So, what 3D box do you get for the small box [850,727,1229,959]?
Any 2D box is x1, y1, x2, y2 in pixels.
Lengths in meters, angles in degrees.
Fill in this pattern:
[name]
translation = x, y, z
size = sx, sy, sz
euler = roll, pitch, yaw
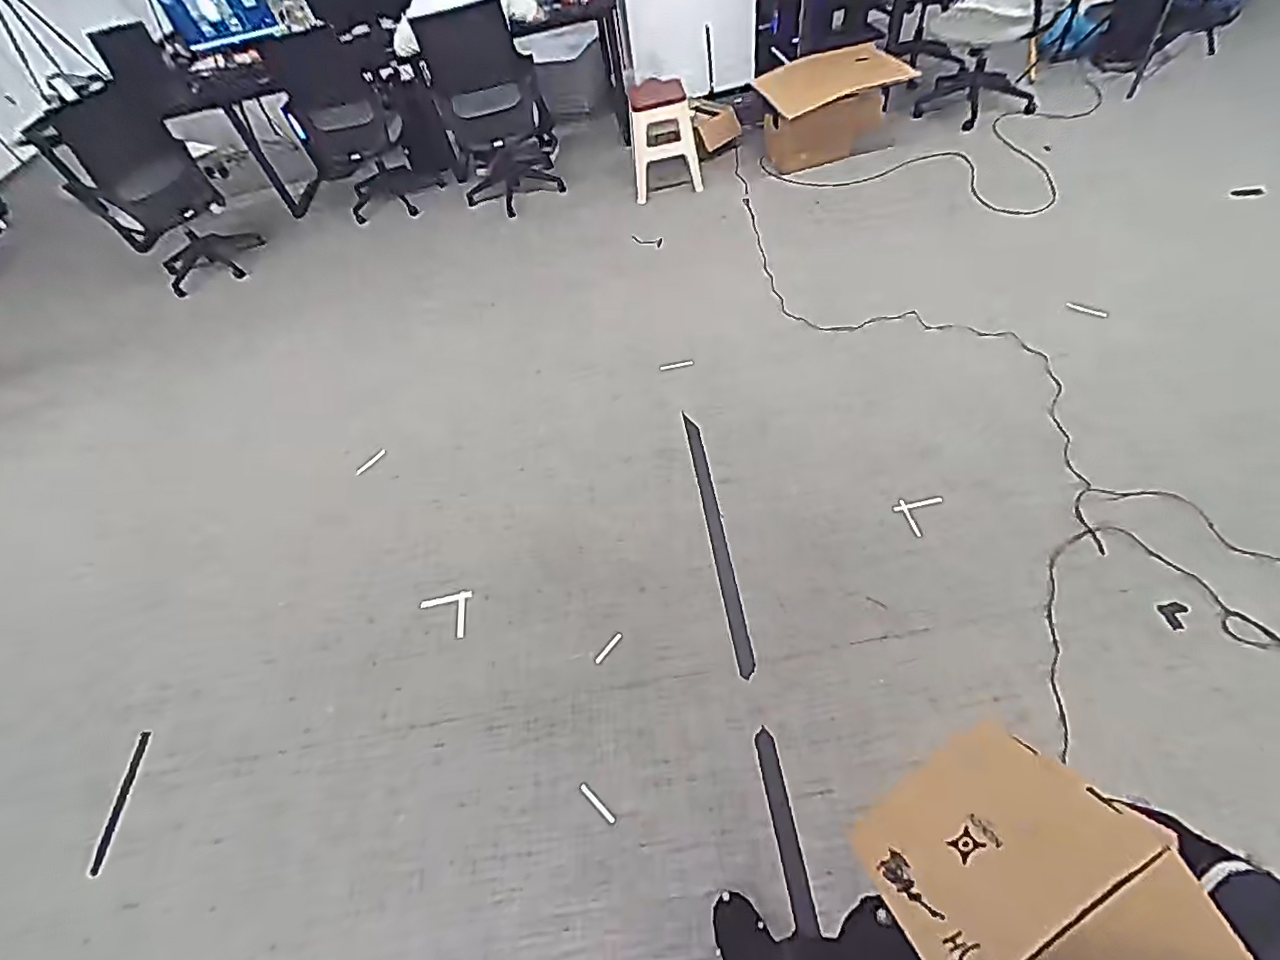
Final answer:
[small box]
translation = 0.319, 0.355, 0.441
size = 0.179, 0.168, 0.176
euler = -38, 94, -1
